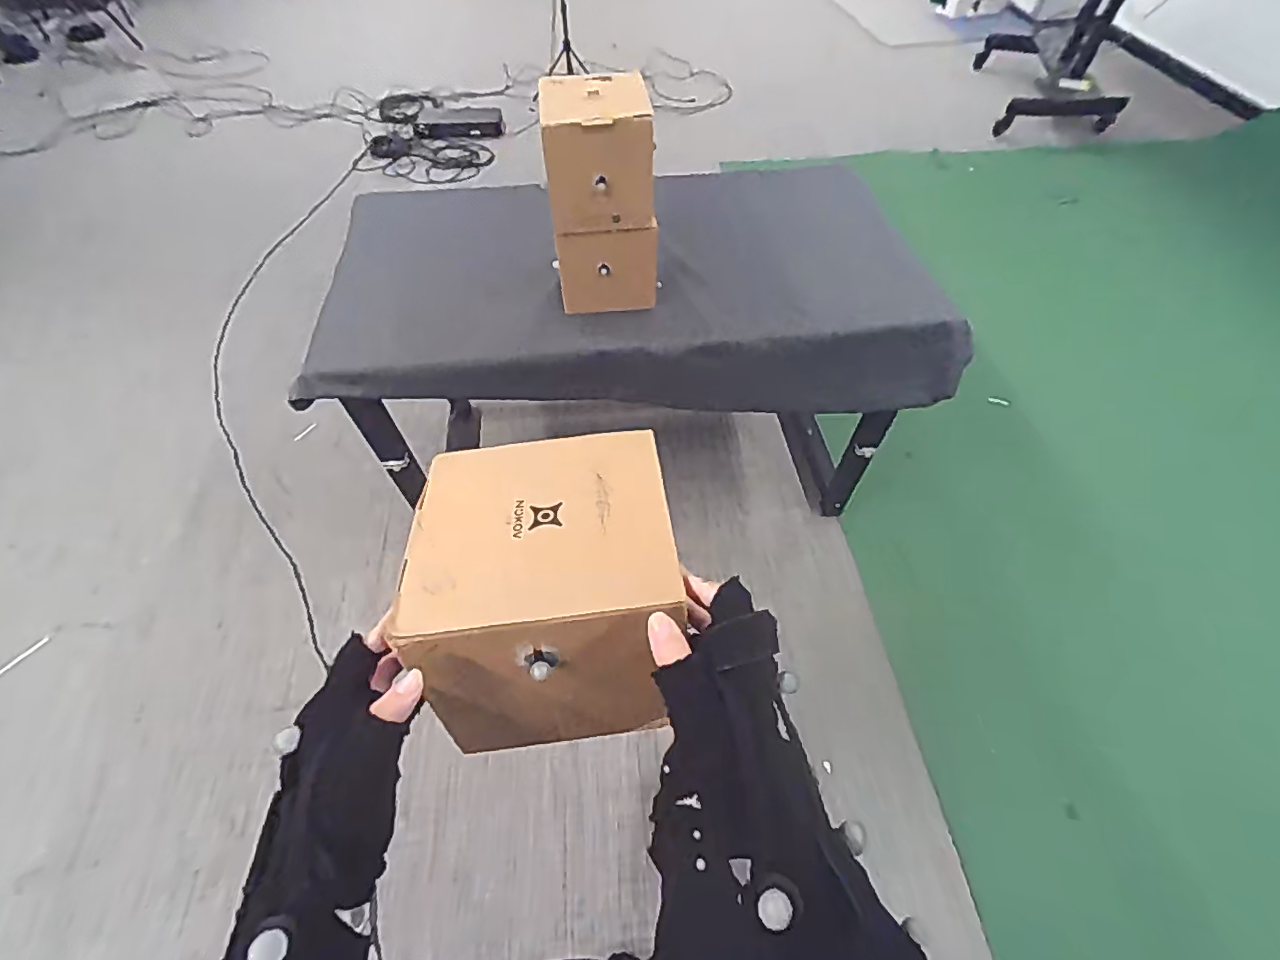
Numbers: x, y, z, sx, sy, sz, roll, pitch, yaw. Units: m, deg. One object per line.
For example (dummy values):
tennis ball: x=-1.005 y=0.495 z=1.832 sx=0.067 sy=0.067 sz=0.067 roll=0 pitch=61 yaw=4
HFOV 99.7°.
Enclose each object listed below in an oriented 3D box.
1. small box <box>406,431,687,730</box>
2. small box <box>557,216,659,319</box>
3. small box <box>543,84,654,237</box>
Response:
small box: x=-0.061 y=0.083 z=0.439 sx=0.179 sy=0.176 sz=0.168 roll=-6 pitch=43 yaw=-4
small box: x=-0.061 y=-0.427 z=1.029 sx=0.179 sy=0.176 sz=0.168 roll=-5 pitch=55 yaw=-2
small box: x=-0.067 y=-0.522 z=0.896 sx=0.168 sy=0.176 sz=0.179 roll=-5 pitch=55 yaw=-3
